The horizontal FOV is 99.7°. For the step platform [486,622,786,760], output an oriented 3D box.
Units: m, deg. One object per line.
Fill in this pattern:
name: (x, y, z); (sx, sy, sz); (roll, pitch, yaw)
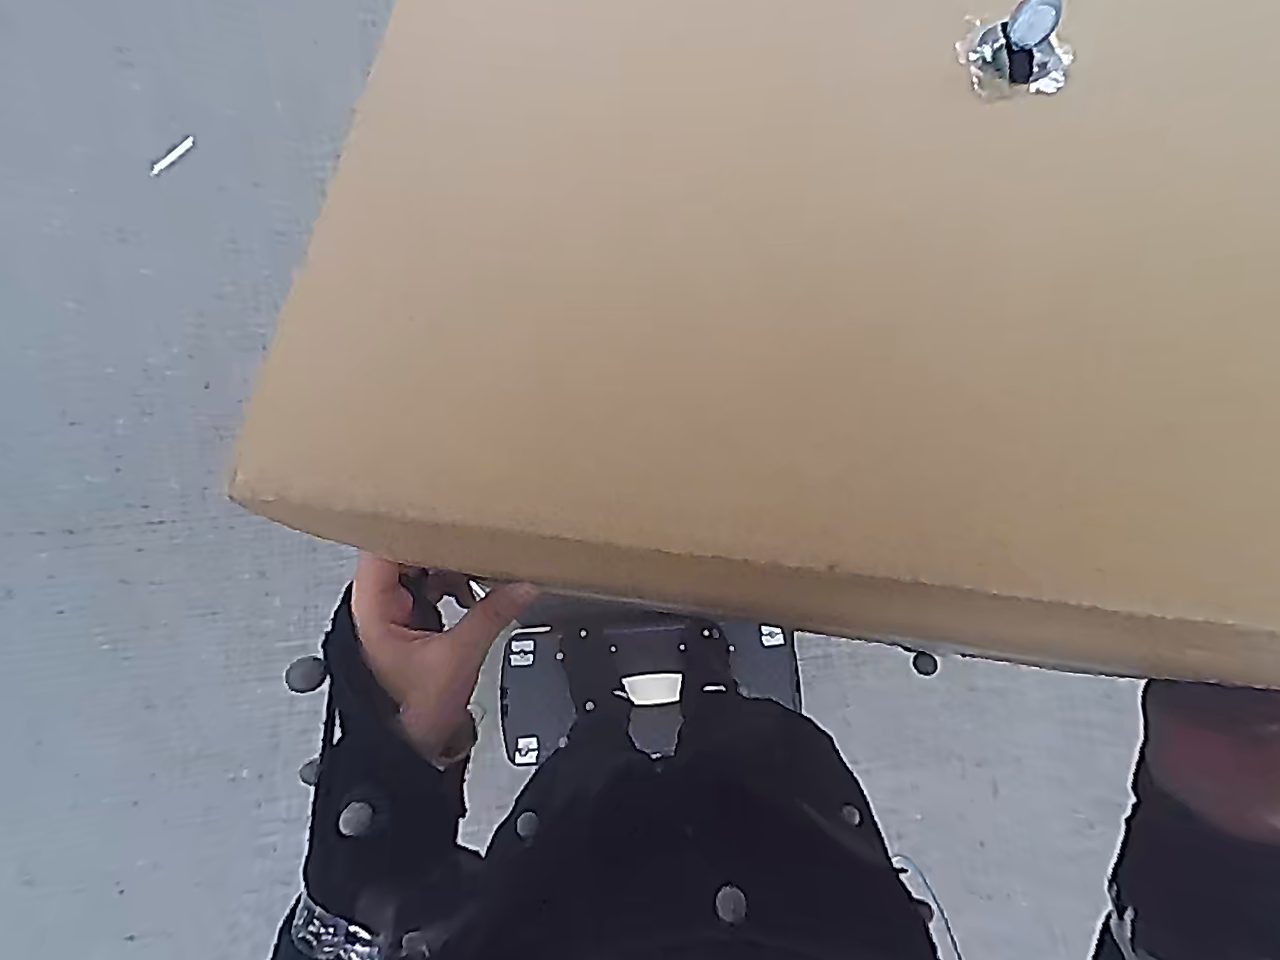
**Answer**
step platform: (-0.008, 0.488, 1.274); (0.684, 0.204, 0.286); (0, 79, -1)

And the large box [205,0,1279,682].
large box: (0.101, -0.079, 0.306); (0.408, 0.320, 0.320); (5, 76, 4)
